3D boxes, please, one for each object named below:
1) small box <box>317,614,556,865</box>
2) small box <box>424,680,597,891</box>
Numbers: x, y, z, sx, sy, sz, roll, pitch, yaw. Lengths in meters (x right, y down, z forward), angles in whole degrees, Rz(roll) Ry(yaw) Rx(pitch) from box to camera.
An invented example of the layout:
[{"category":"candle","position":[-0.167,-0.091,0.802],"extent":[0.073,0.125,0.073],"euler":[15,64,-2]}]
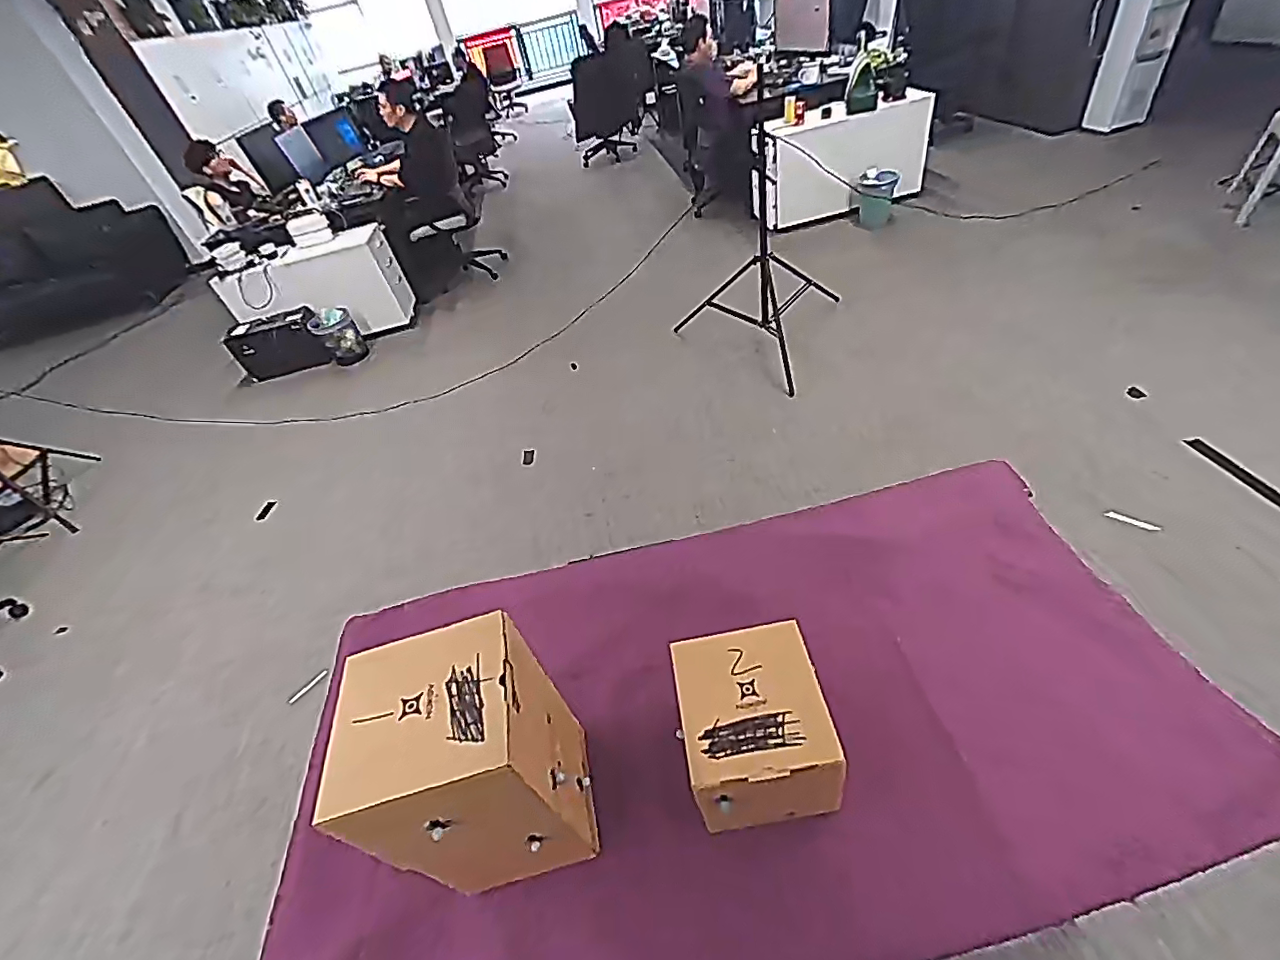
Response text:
[{"category":"small box","position":[-0.195,0.276,0.575],"extent":[0.179,0.176,0.168],"euler":[-16,42,-2]},{"category":"small box","position":[-0.168,0.391,0.689],"extent":[0.179,0.176,0.168],"euler":[-16,42,-2]}]
